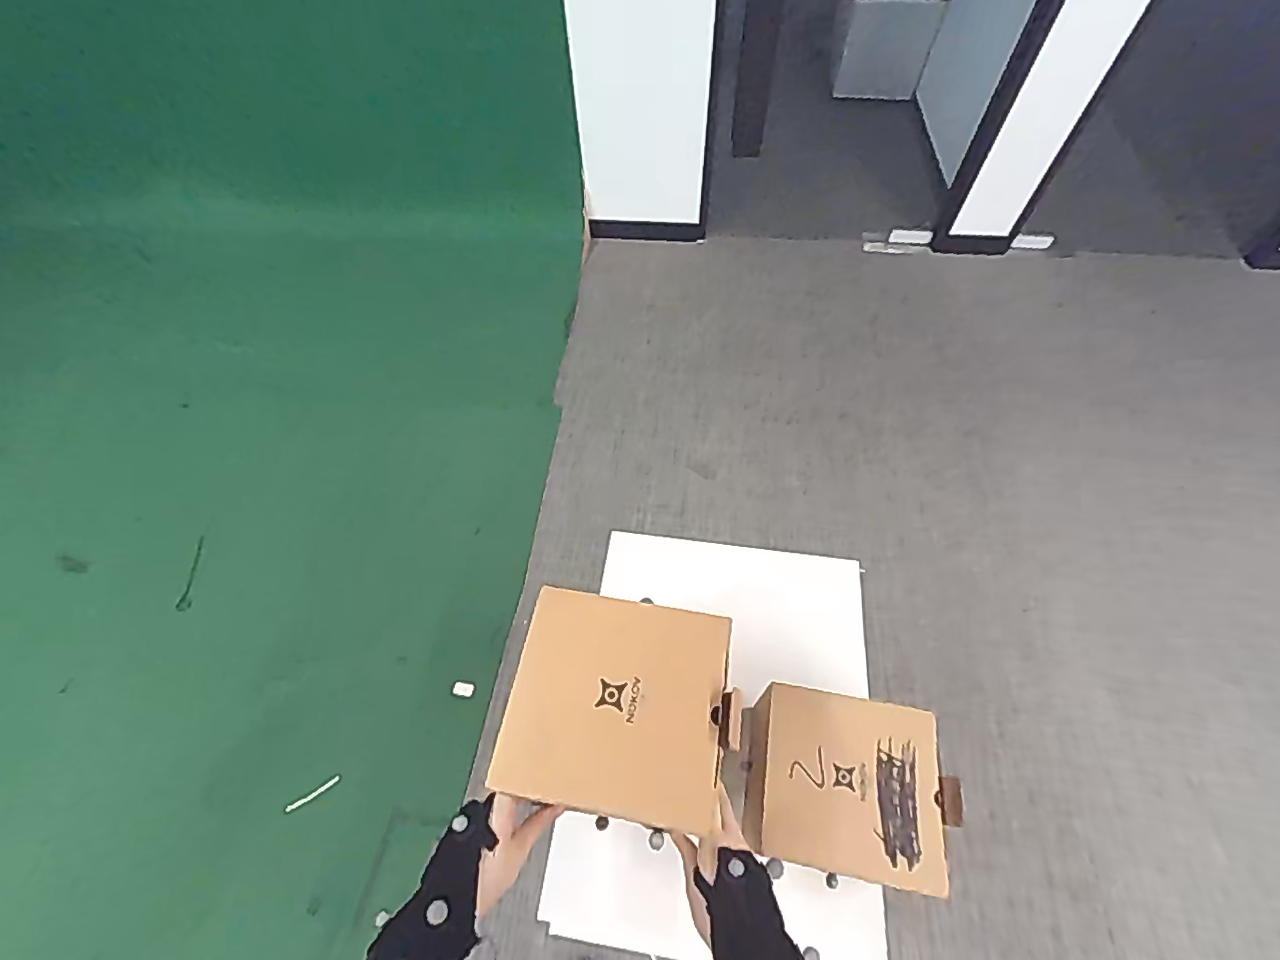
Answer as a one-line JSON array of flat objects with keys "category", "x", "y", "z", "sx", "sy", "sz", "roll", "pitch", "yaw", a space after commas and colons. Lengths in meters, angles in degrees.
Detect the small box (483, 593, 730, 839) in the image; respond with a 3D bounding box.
[{"category": "small box", "x": -0.020, "y": 0.225, "z": 0.508, "sx": 0.179, "sy": 0.176, "sz": 0.168, "roll": 9, "pitch": 58, "yaw": 5}]
